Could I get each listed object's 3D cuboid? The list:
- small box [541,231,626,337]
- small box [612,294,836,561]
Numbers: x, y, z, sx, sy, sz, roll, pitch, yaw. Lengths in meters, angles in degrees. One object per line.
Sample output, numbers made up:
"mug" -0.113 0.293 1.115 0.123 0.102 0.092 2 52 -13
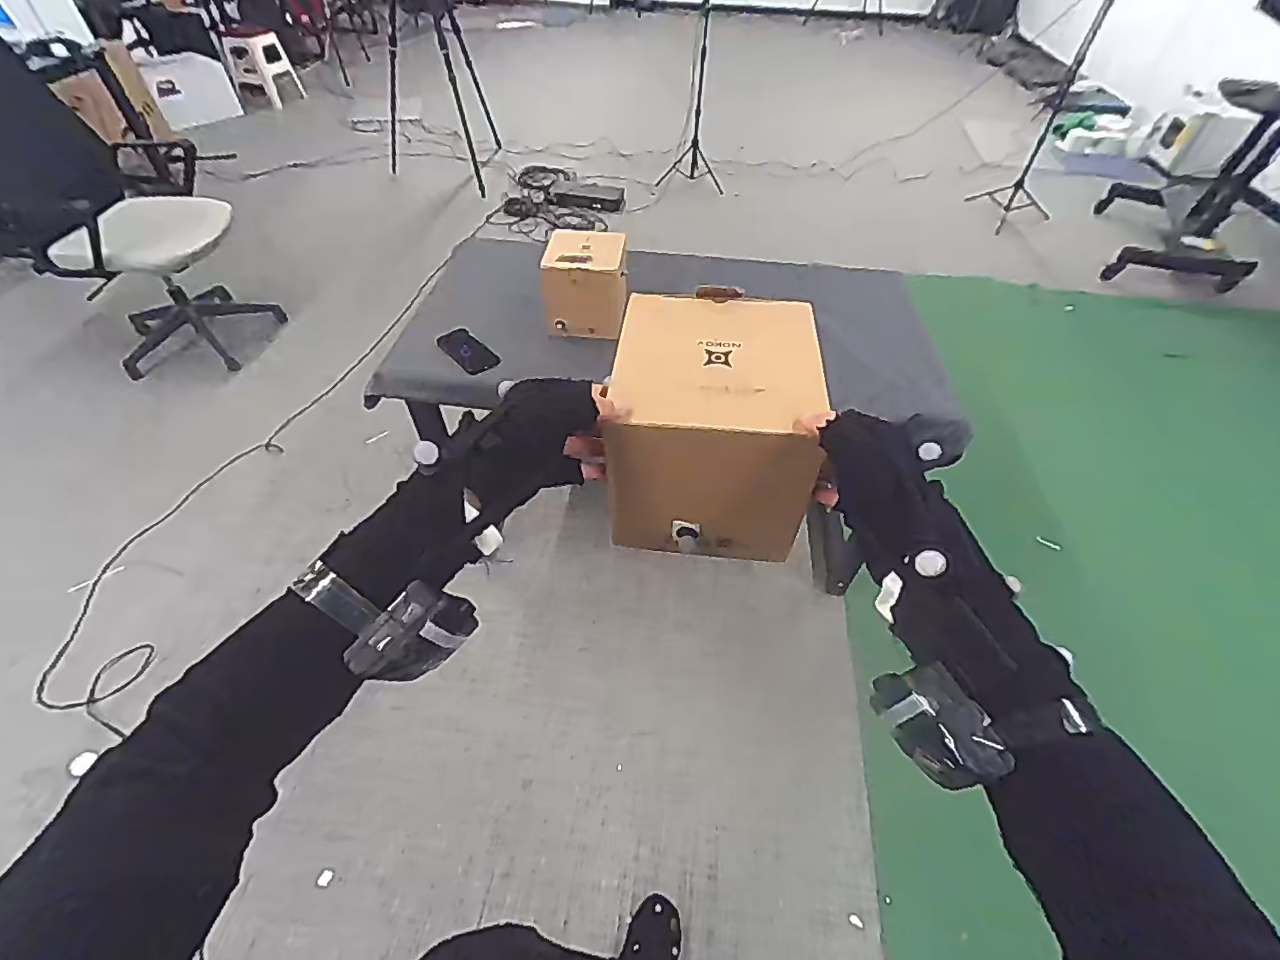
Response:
"small box" -0.120 -0.444 1.232 0.168 0.176 0.179 5 48 2
"small box" 0.068 -0.048 0.504 0.168 0.176 0.179 4 50 4
